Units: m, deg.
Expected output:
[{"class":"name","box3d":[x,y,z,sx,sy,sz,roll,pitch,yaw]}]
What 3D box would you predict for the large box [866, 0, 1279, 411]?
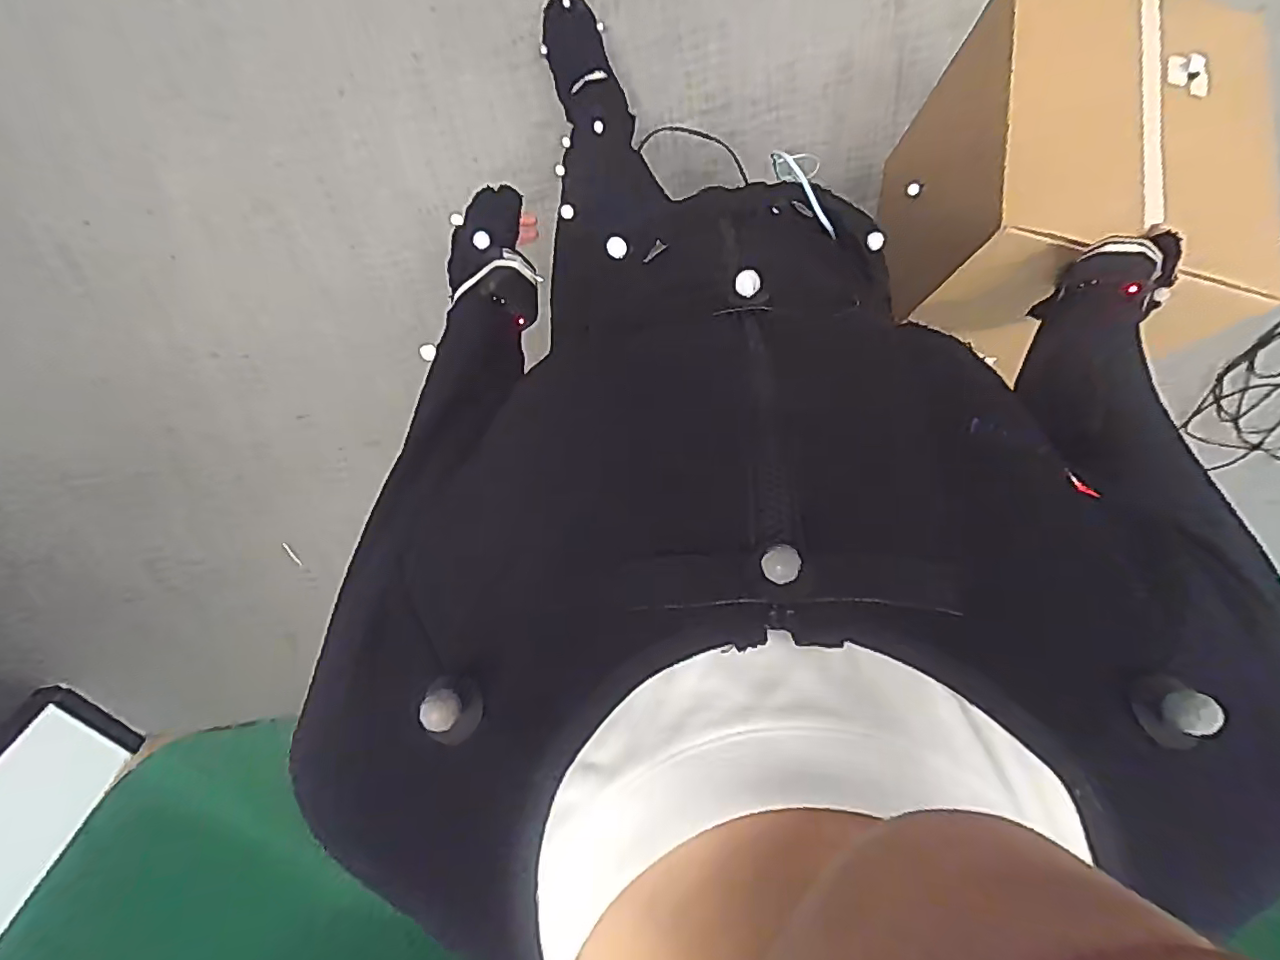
[{"class":"large box","box3d":[0.546,-0.359,0.755,0.320,0.408,0.320,14,164,-2]}]
